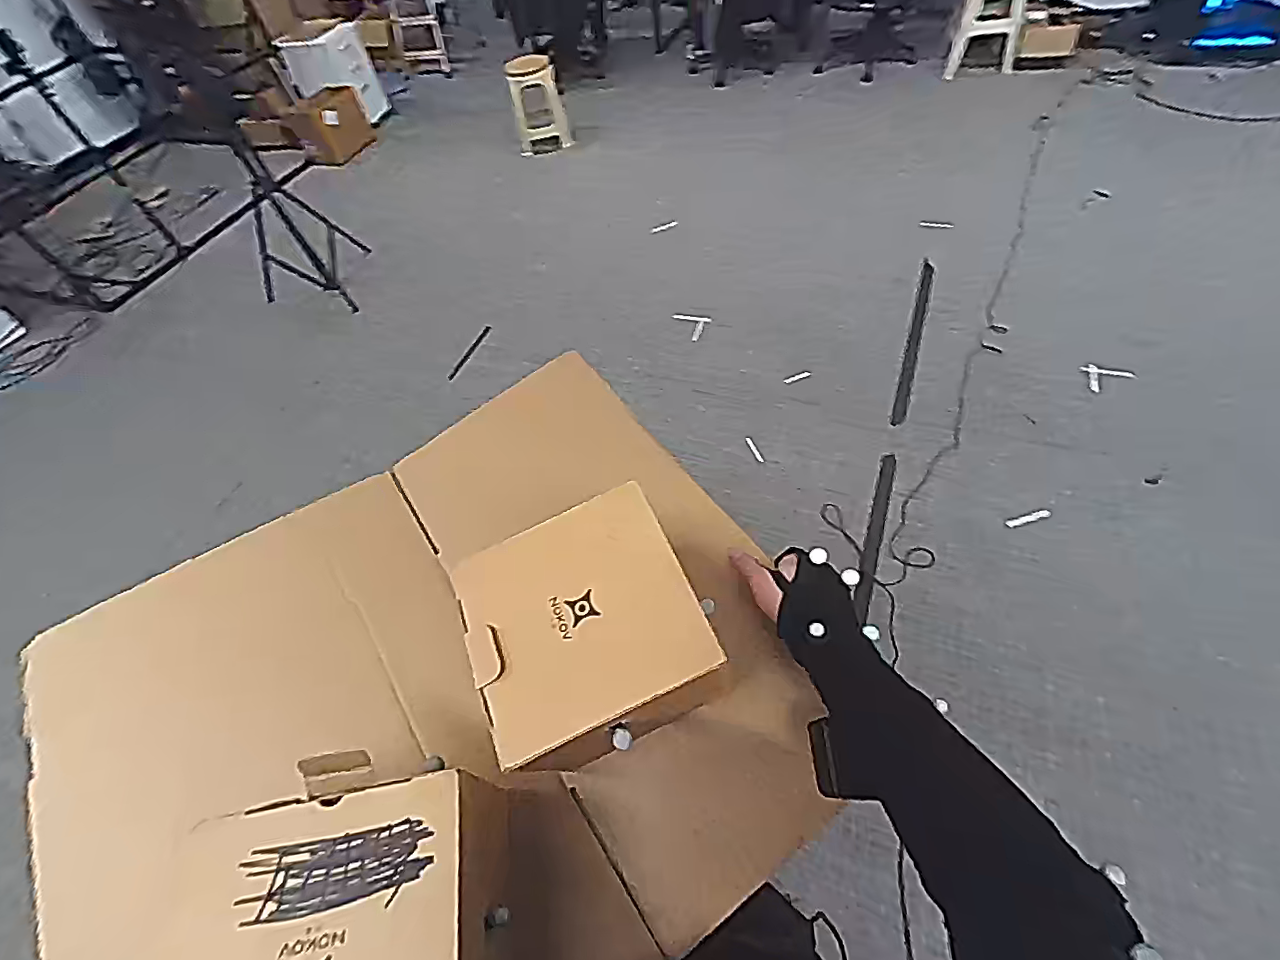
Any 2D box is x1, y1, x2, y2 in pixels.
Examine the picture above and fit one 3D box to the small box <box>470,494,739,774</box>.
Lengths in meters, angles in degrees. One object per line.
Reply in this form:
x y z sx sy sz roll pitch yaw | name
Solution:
-0.023 0.145 0.495 0.179 0.176 0.168 -25 61 -2 | small box
